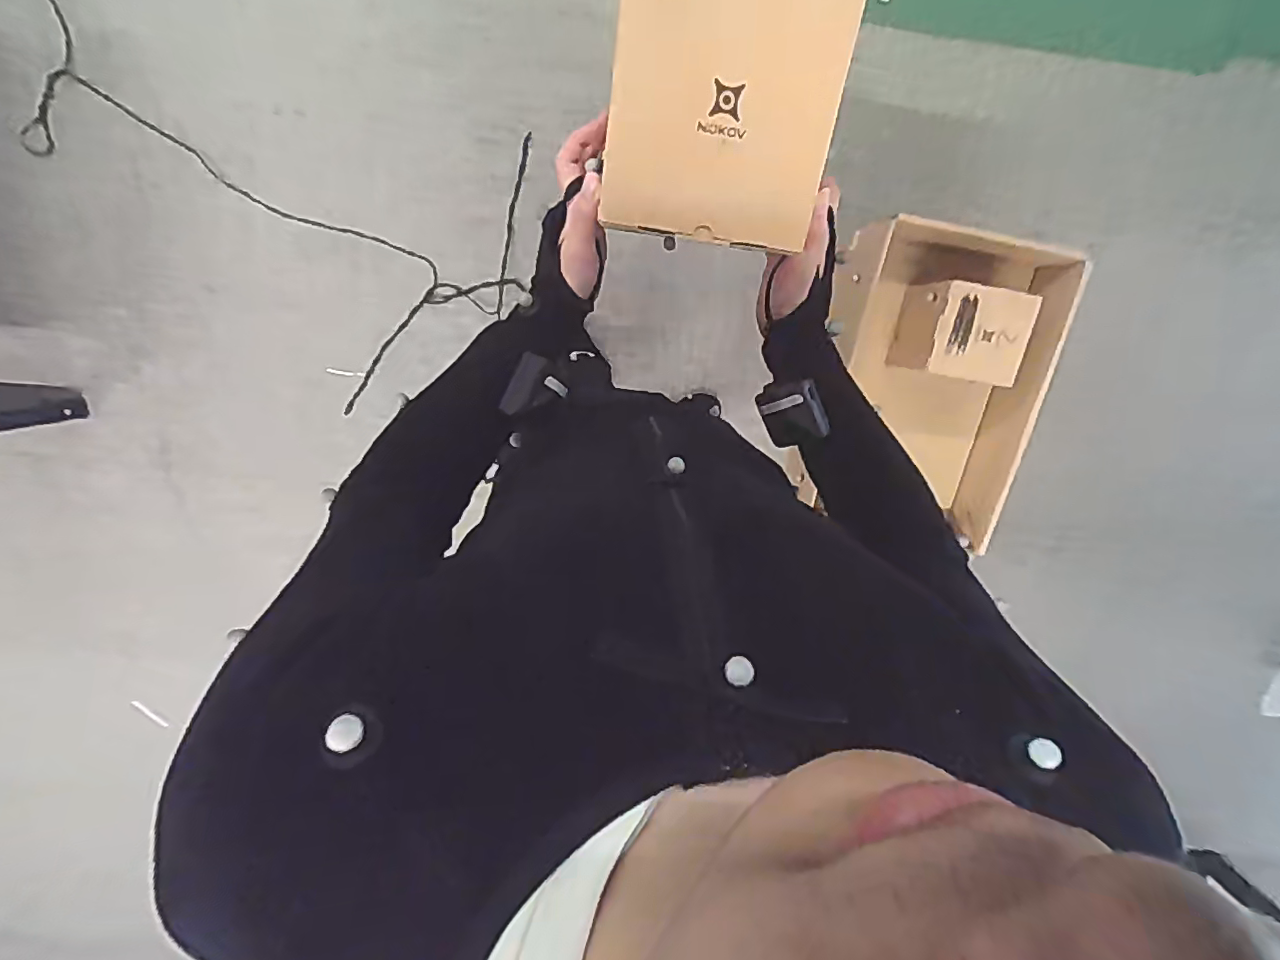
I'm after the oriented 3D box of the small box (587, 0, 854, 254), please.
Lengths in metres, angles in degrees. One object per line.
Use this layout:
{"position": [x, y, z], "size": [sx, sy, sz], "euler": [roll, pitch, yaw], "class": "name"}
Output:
{"position": [0.046, -0.296, 0.449], "size": [0.168, 0.176, 0.179], "euler": [6, 115, -6], "class": "small box"}
